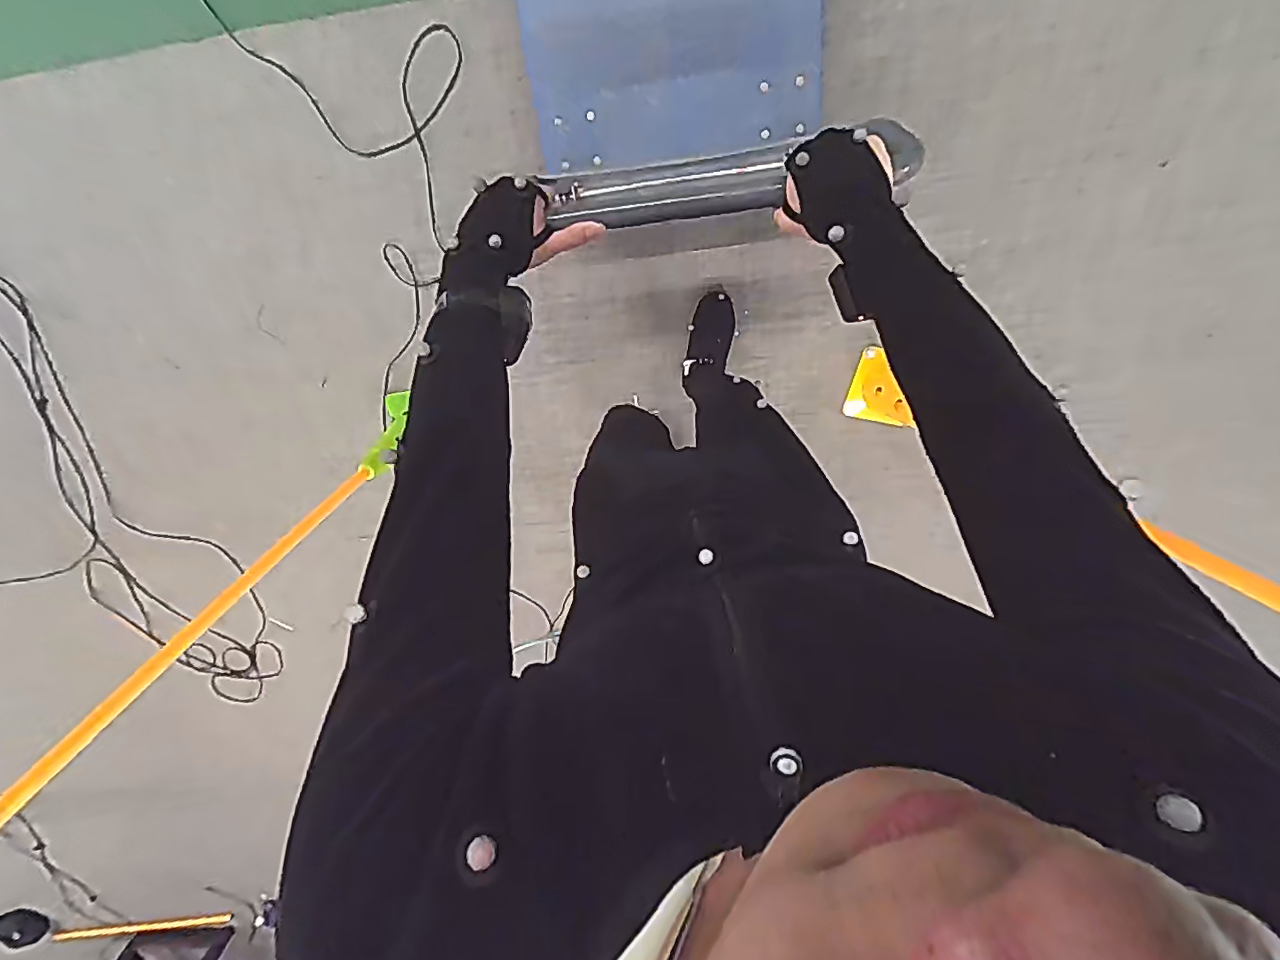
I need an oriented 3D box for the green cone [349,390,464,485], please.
[{"bbox_3d":[-0.650,-0.086,1.438,0.202,0.368,0.200,-8,114,9],"label":"green cone"}]
